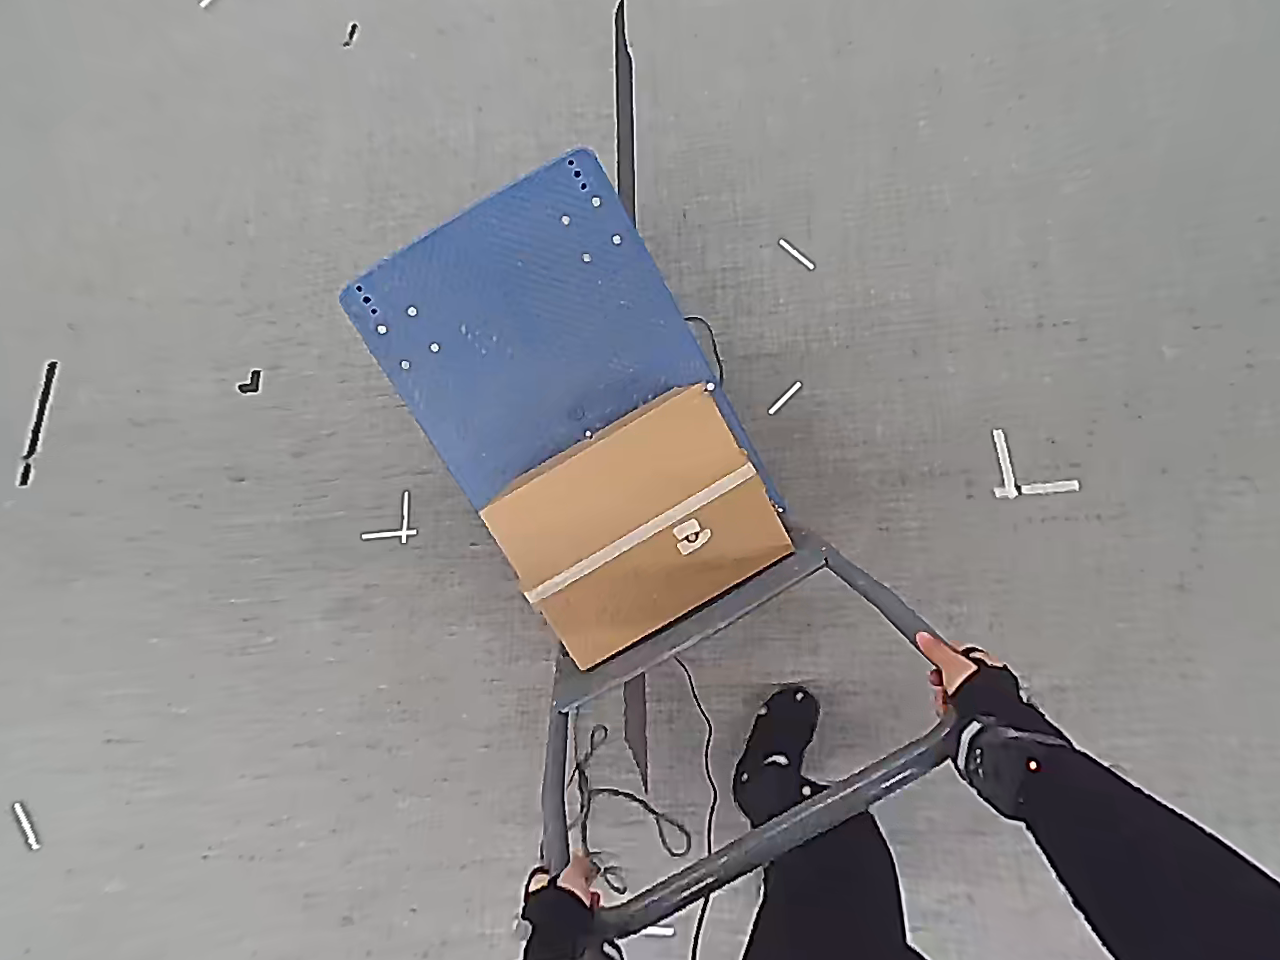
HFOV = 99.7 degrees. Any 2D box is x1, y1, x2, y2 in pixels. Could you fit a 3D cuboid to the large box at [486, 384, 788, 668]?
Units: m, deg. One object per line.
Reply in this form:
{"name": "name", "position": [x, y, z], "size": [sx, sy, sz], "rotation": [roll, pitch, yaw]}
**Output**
{"name": "large box", "position": [-0.012, 0.062, 1.013], "size": [0.408, 0.320, 0.320], "rotation": [-32, 100, 0]}
